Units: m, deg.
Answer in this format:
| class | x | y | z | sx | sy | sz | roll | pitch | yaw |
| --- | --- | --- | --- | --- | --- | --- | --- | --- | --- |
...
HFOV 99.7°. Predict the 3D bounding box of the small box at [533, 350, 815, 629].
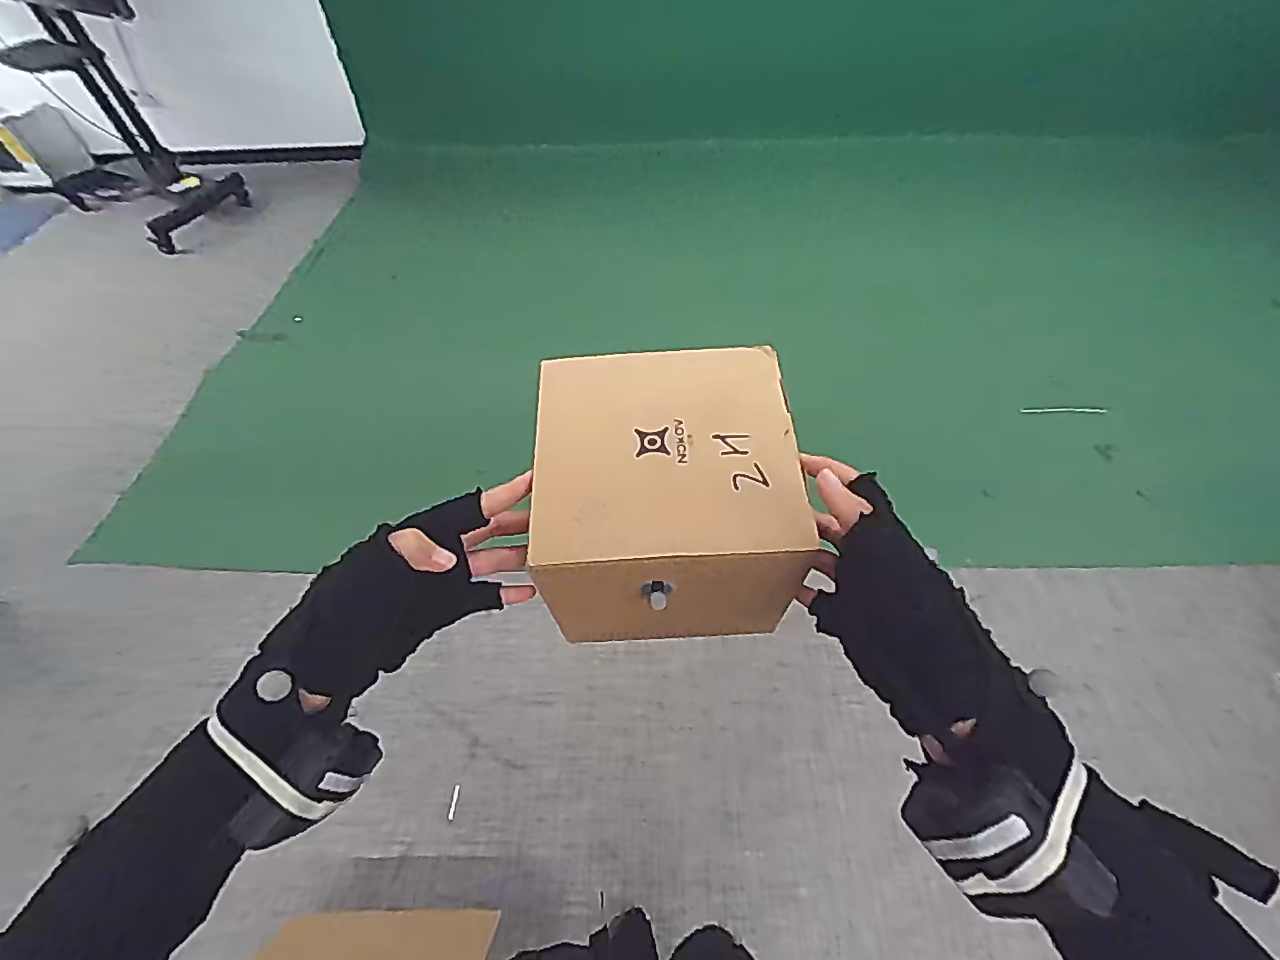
| class | x | y | z | sx | sy | sz | roll | pitch | yaw |
| --- | --- | --- | --- | --- | --- | --- | --- | --- | --- |
| small box | 0.021 | 0.017 | 0.437 | 0.179 | 0.176 | 0.168 | -3 | 59 | 0 |
